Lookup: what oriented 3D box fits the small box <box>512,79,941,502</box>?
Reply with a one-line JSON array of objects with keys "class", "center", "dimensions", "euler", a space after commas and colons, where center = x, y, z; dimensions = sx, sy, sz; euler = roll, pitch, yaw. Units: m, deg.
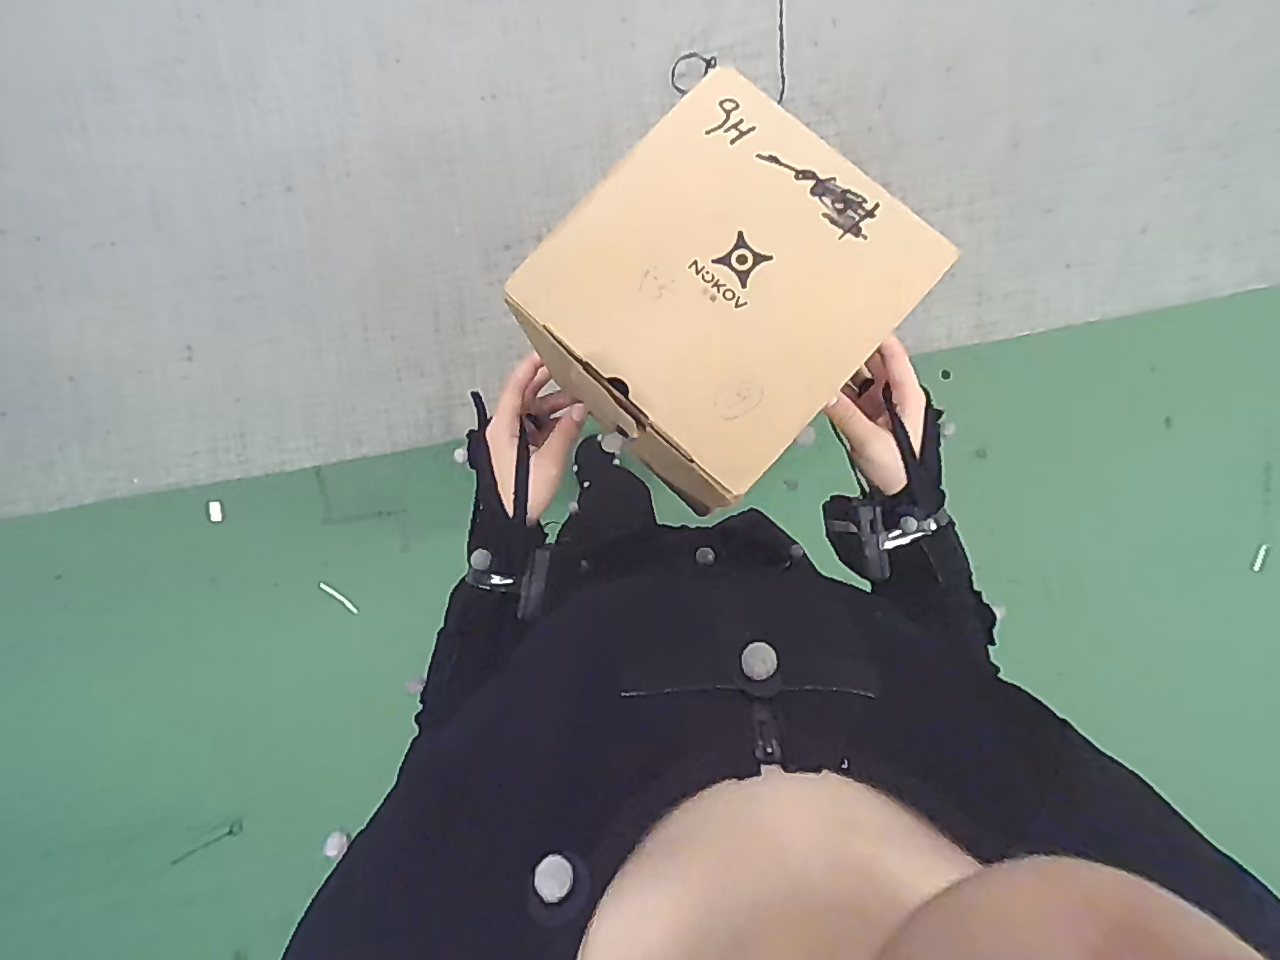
[{"class": "small box", "center": [0.049, -0.100, 0.369], "dimensions": [0.168, 0.176, 0.179], "euler": [42, 87, 6]}]
